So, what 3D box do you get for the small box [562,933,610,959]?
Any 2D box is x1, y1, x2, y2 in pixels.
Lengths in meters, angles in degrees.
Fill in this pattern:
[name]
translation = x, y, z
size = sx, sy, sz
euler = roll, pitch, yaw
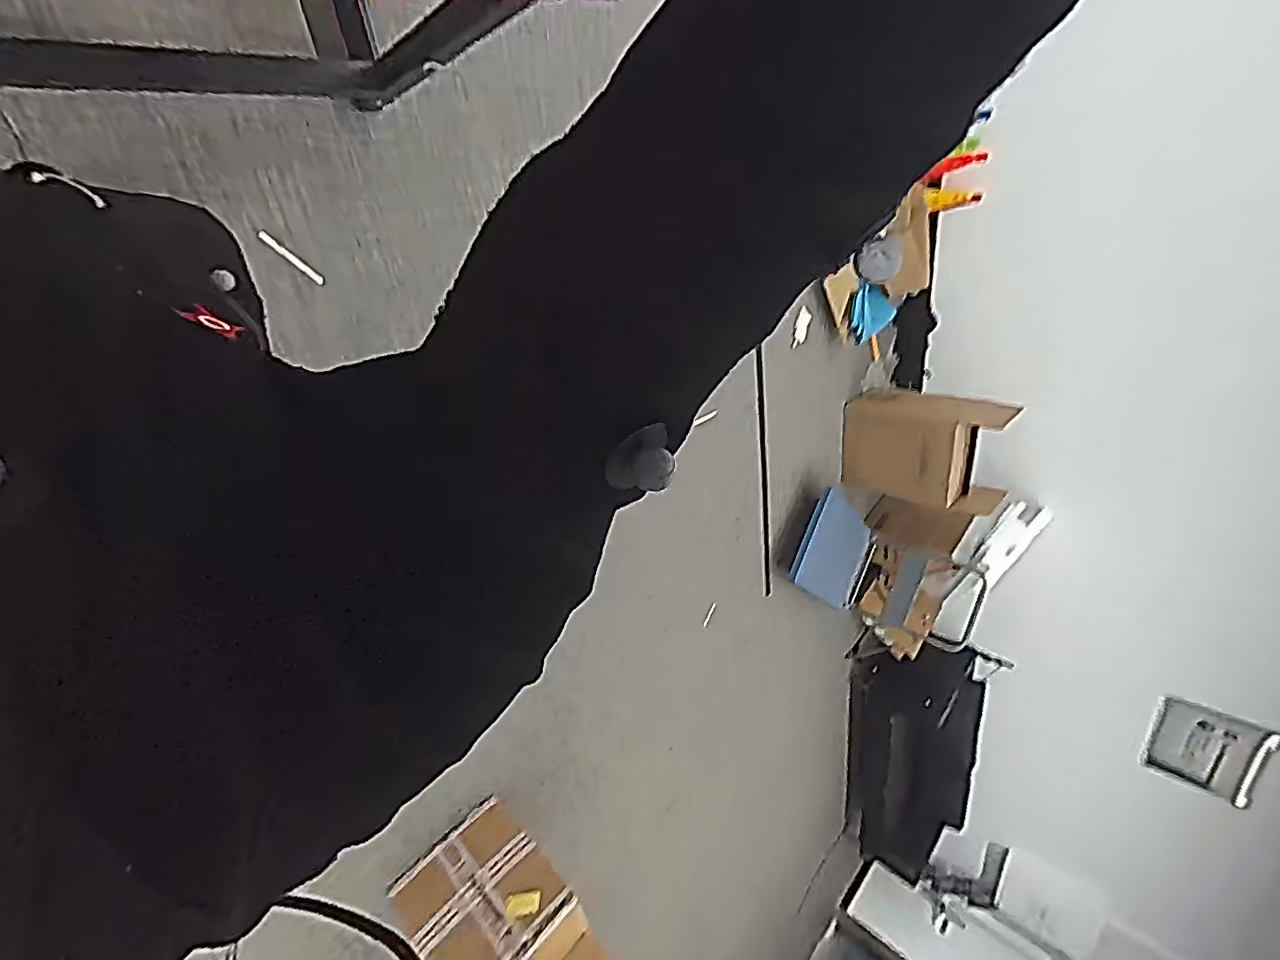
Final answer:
[small box]
translation = -0.158, 1.501, 1.581
size = 0.179, 0.176, 0.168
euler = -32, 123, -39
